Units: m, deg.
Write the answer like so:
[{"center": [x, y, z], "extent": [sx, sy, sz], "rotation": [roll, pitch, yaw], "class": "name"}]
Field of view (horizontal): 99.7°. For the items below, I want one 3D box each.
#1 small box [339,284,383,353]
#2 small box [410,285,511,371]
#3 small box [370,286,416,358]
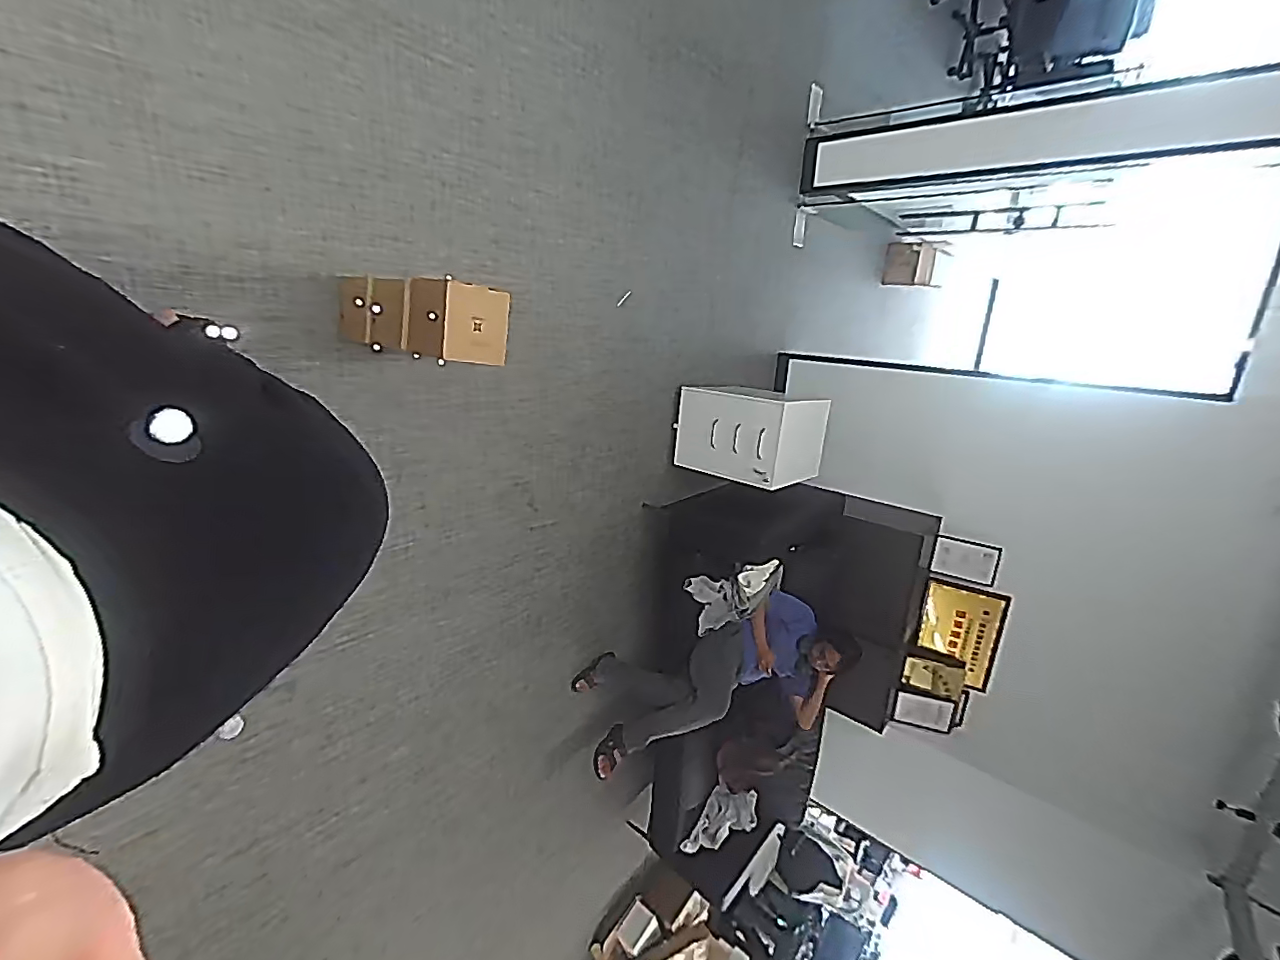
[{"center": [-0.691, -0.434, 1.473], "extent": [0.179, 0.176, 0.168], "rotation": [-7, 109, -51], "class": "small box"}, {"center": [-0.430, -0.362, 1.290], "extent": [0.168, 0.176, 0.179], "rotation": [-7, 110, -49], "class": "small box"}, {"center": [-0.559, -0.396, 1.381], "extent": [0.179, 0.176, 0.168], "rotation": [-5, 106, -50], "class": "small box"}]
